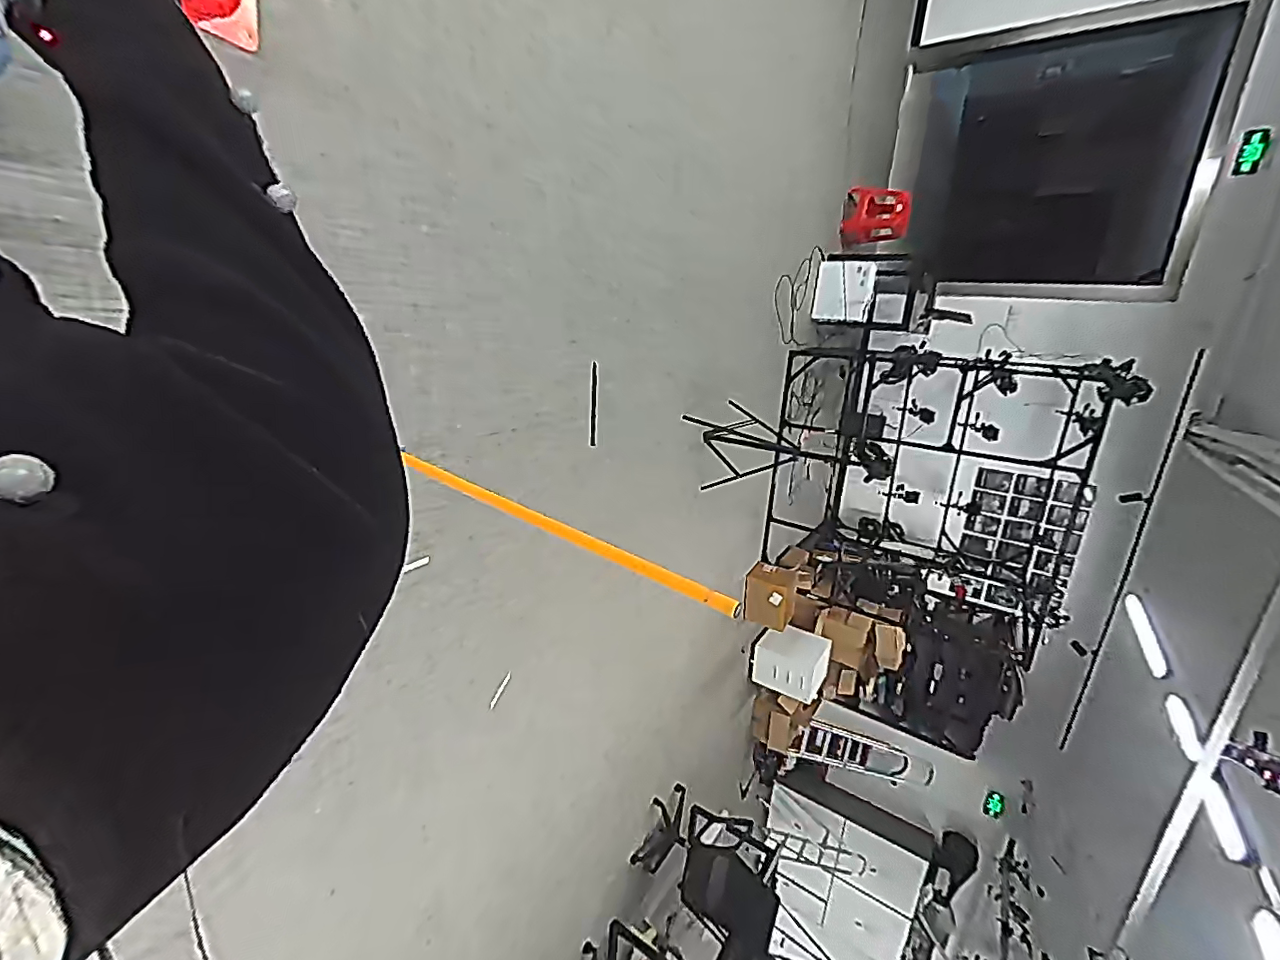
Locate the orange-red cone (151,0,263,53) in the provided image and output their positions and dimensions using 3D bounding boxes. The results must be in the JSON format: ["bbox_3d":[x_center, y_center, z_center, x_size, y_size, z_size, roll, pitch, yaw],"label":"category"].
[{"bbox_3d":[-0.697,-0.941,0.956,0.199,0.360,0.198,-10,111,-57],"label":"orange-red cone"}]
